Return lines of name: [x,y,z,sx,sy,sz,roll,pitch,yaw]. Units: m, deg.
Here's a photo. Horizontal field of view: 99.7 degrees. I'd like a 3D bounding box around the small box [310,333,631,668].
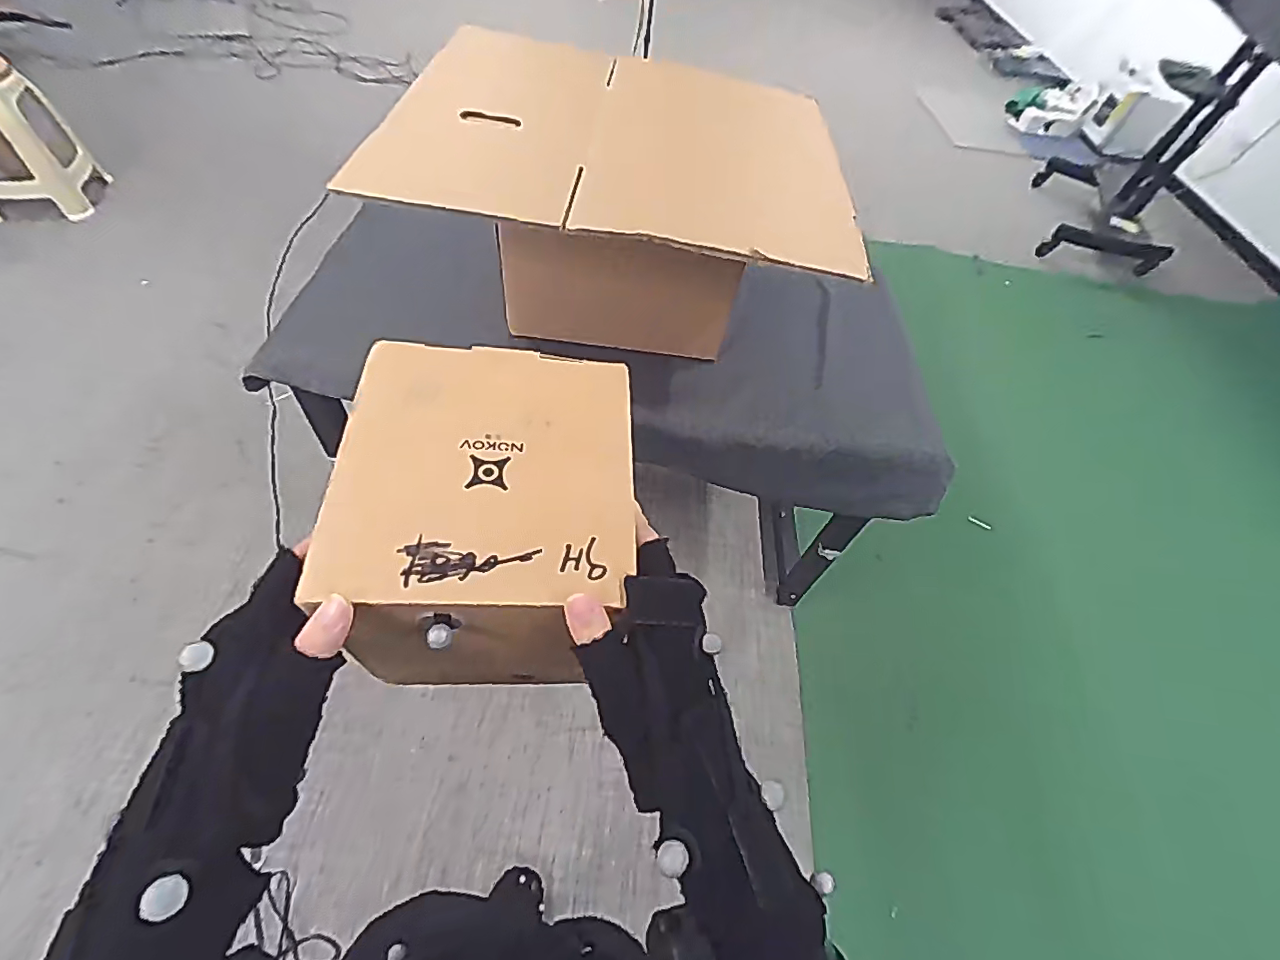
small box: [-0.100,0.023,0.391,0.168,0.176,0.179,3,56,-8]
